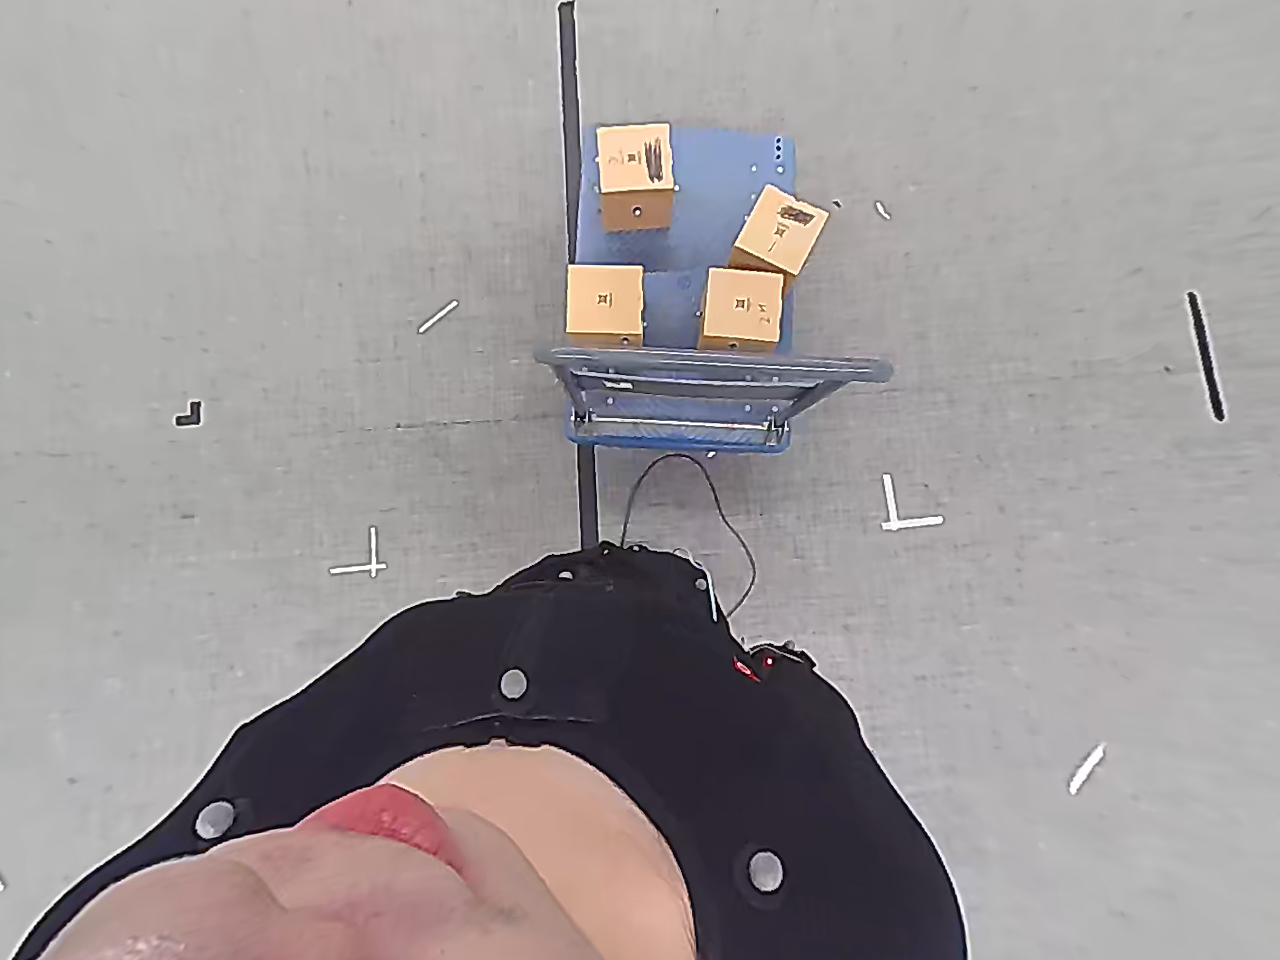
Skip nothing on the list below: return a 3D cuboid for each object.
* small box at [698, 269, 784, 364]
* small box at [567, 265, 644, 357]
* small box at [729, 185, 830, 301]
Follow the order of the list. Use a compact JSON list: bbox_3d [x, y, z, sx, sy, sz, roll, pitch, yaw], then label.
[{"bbox_3d":[0.238,-0.390,1.313,0.179,0.176,0.168,6,84,1],"label":"small box"},{"bbox_3d":[-0.079,-0.405,1.316,0.179,0.176,0.168,1,84,-1],"label":"small box"},{"bbox_3d":[0.332,-0.572,1.333,0.168,0.176,0.179,28,85,3],"label":"small box"}]
